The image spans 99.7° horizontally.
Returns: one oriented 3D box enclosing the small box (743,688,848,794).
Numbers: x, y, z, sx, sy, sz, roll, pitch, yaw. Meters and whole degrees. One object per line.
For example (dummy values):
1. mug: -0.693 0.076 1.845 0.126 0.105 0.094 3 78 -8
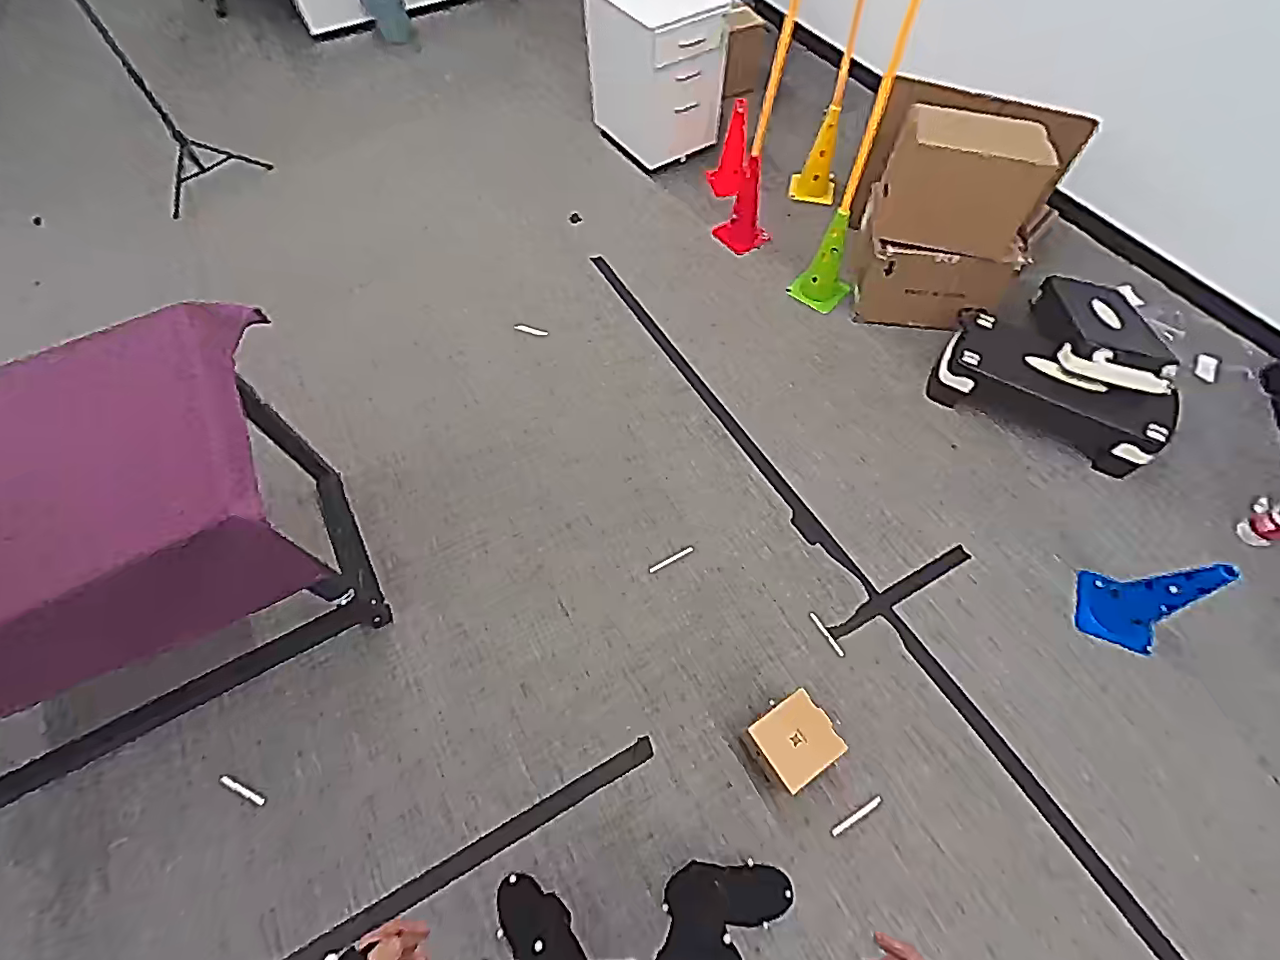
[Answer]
1. small box: 0.372 0.647 1.337 0.179 0.176 0.168 -30 65 -15
